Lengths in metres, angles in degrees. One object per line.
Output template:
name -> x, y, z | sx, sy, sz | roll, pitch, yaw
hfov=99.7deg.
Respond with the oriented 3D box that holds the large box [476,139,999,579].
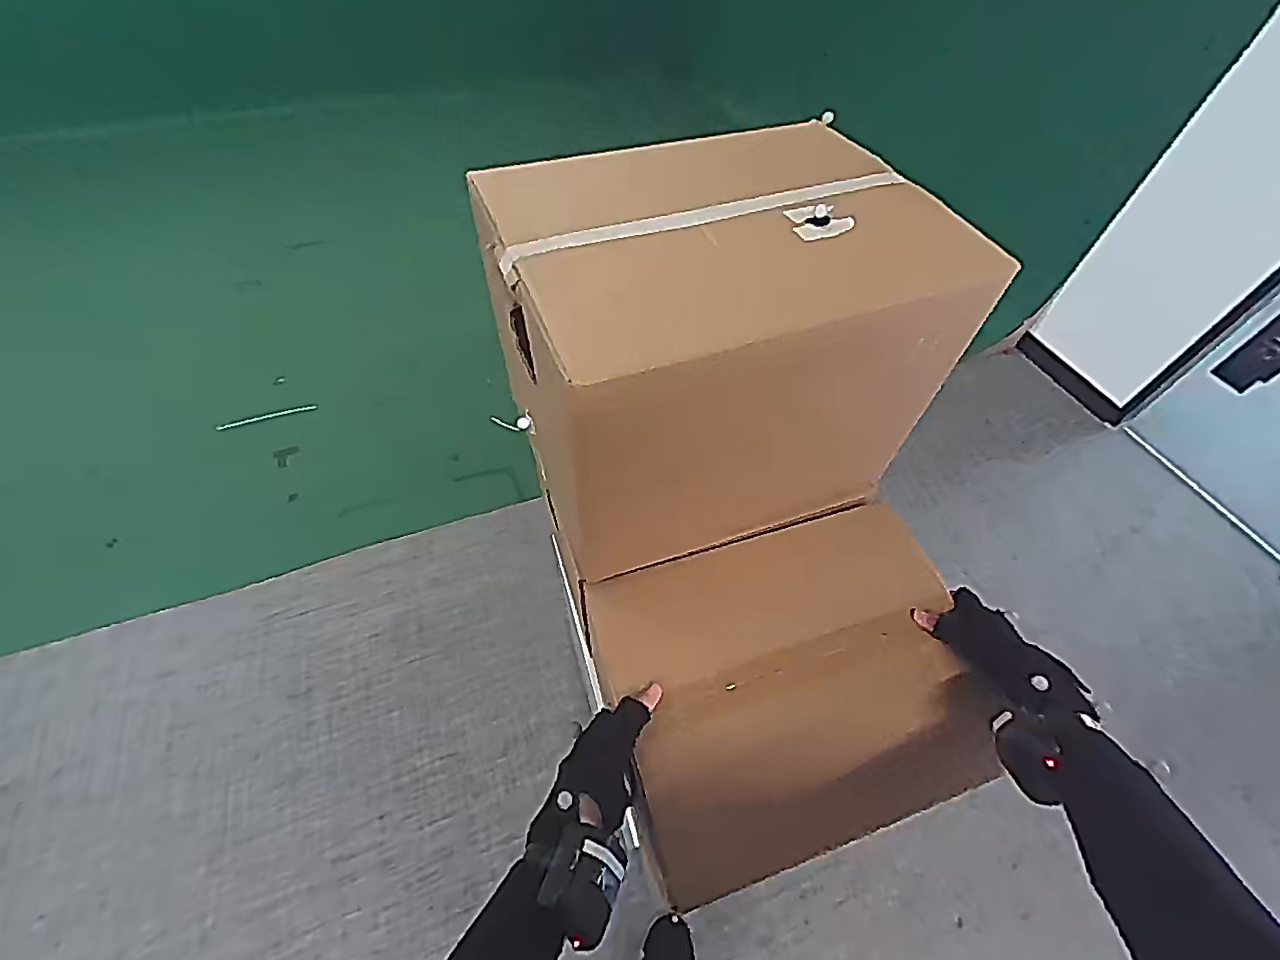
large box -> 0.071, -0.142, 0.618 | 0.408, 0.320, 0.320 | -17, 56, -15
